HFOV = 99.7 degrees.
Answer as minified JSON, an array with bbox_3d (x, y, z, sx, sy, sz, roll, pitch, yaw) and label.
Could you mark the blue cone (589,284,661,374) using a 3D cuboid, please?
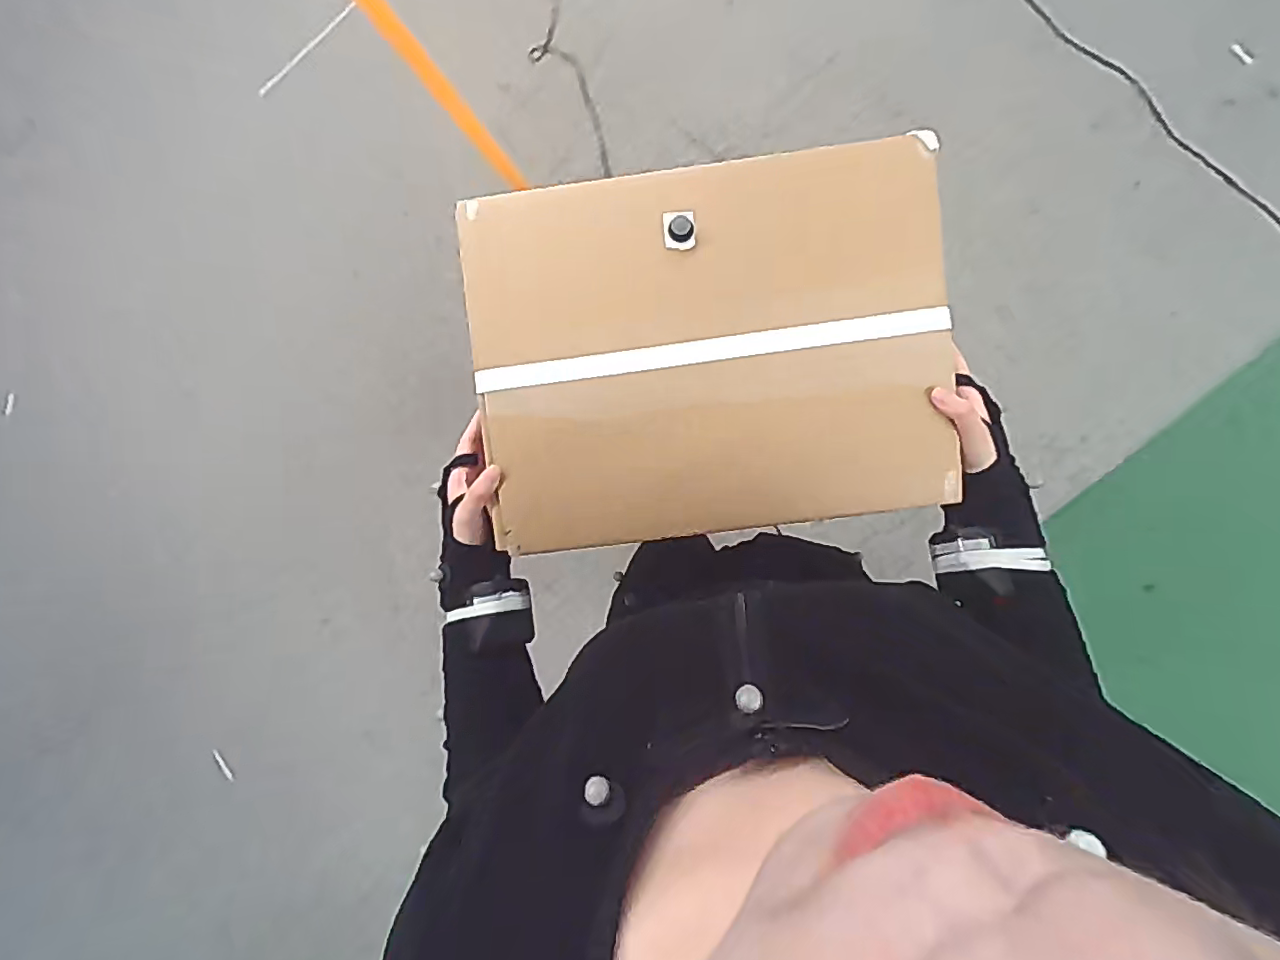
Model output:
[{"bbox_3d":[-0.060,-0.410,1.367,0.192,0.380,0.193,-7,87,7],"label":"blue cone"}]
